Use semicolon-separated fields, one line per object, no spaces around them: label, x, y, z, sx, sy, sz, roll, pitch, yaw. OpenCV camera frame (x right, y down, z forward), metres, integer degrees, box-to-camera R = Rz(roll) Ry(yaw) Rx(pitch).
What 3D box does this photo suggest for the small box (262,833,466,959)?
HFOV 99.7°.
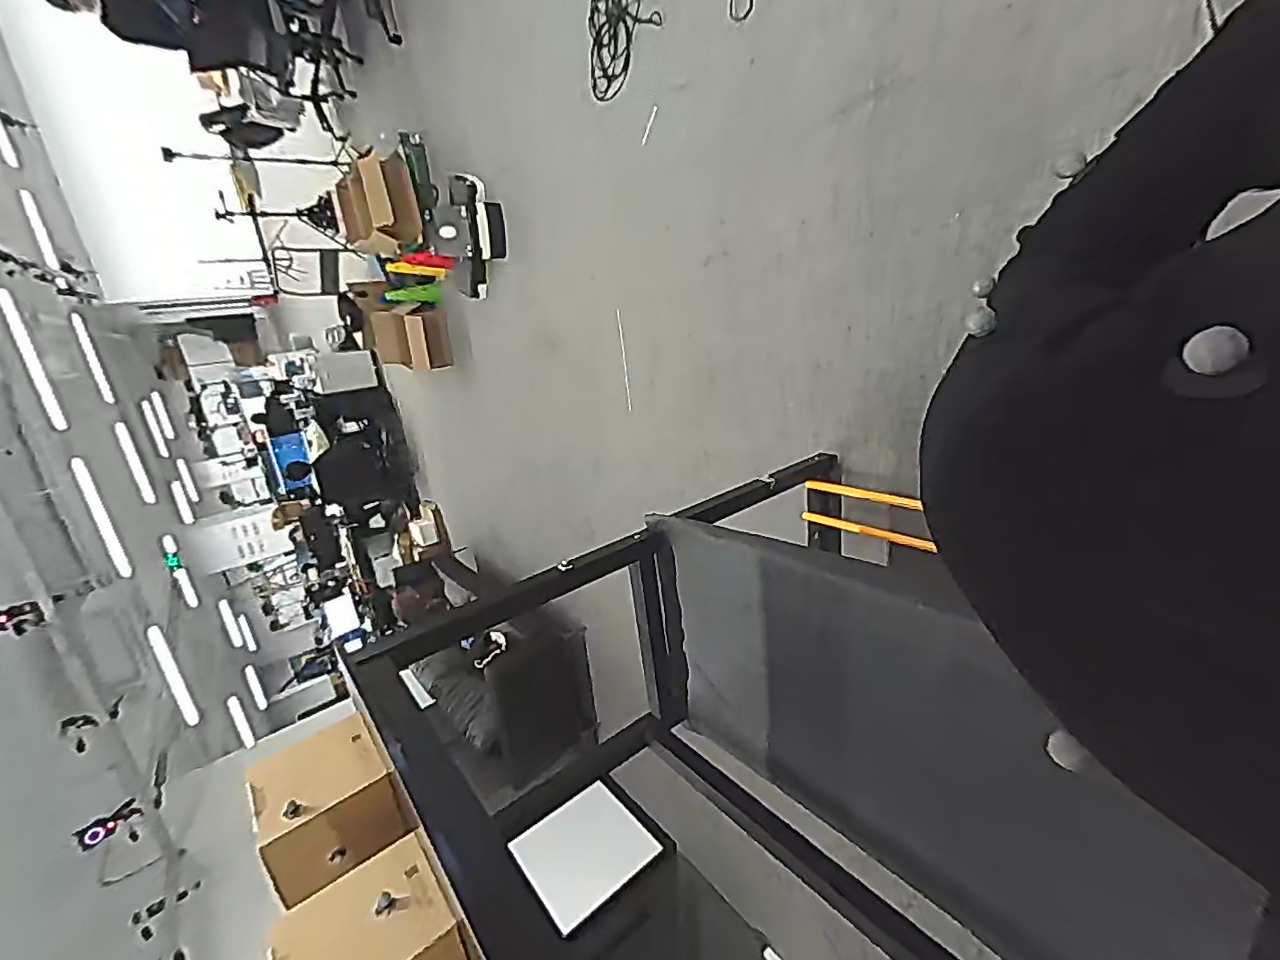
small box;-0.292;0.554;0.600;0.168;0.176;0.179;8;112;52
